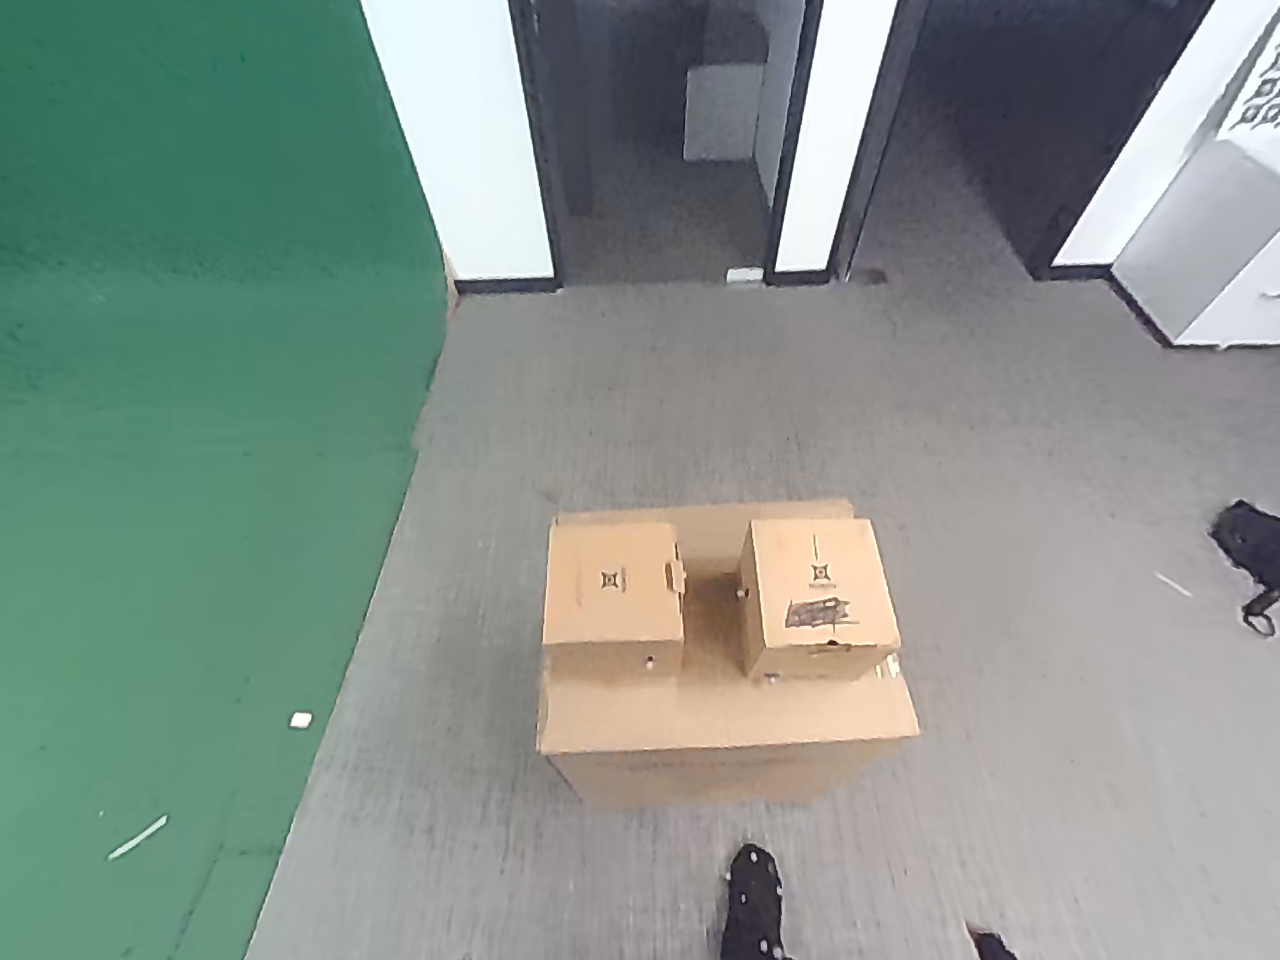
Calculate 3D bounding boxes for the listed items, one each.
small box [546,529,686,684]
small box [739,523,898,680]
[{"bbox_3d":[-0.029,0.186,0.776,0.179,0.176,0.168,-4,54,2],"label":"small box"},{"bbox_3d":[0.236,0.177,0.765,0.168,0.176,0.179,-1,56,2],"label":"small box"}]
